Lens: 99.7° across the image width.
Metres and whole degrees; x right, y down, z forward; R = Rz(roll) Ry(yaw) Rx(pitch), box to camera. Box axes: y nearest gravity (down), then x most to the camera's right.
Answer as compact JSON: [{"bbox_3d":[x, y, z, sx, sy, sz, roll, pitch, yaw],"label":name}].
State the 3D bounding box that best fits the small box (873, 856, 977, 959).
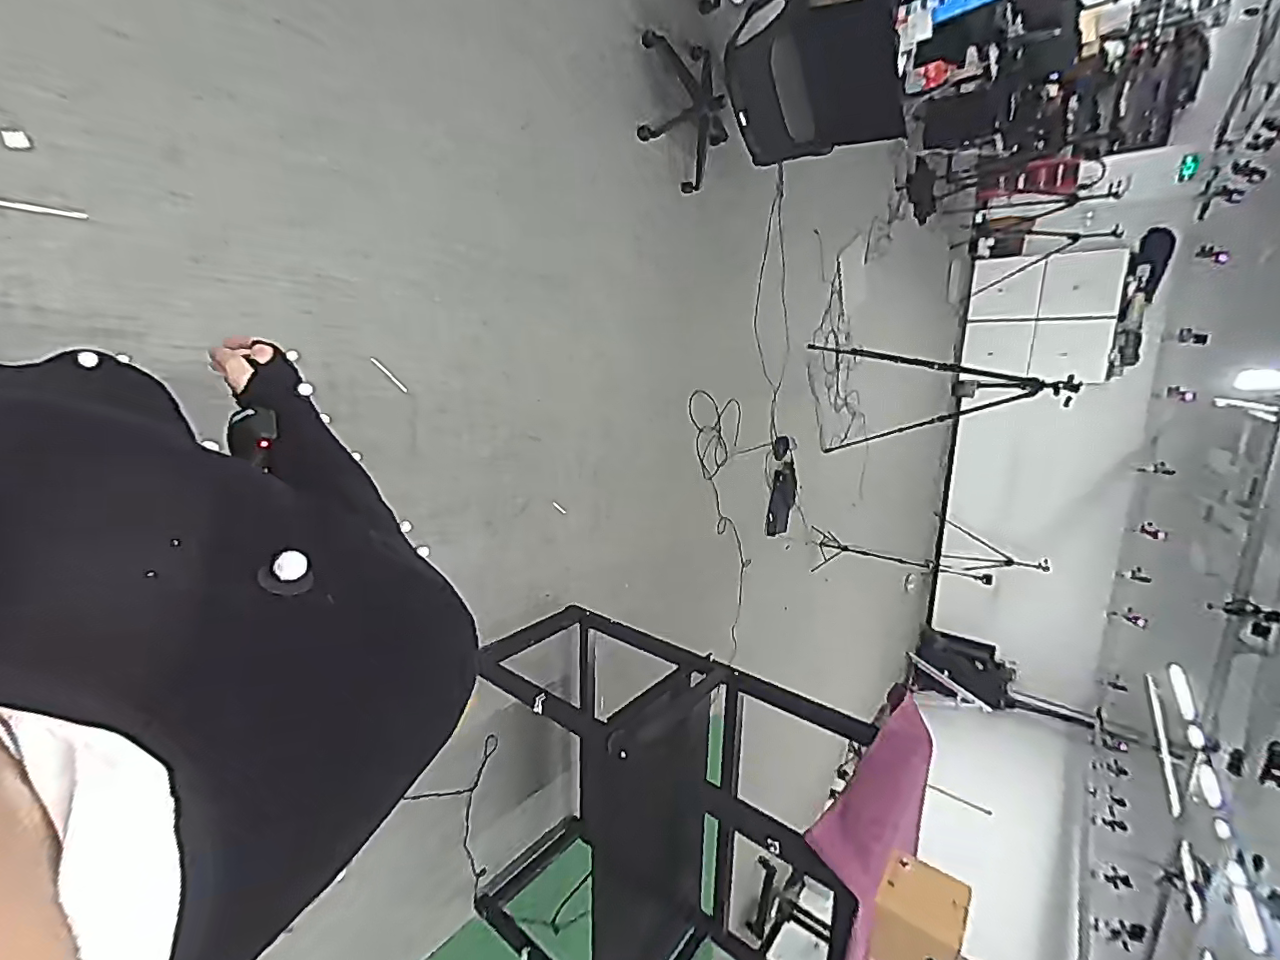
[{"bbox_3d":[0.631,0.985,1.202,0.168,0.176,0.179,-18,113,-48],"label":"small box"}]
